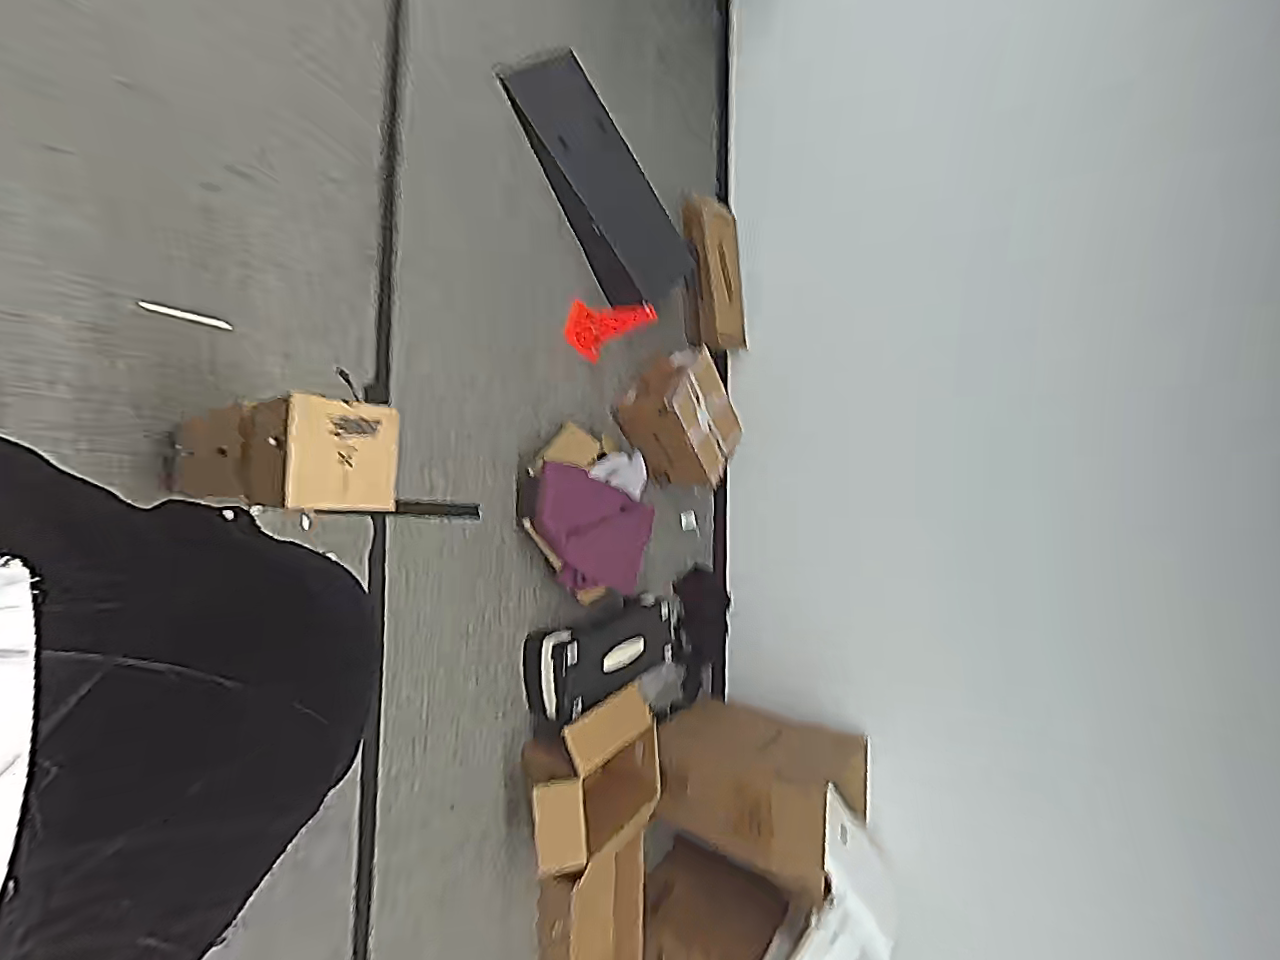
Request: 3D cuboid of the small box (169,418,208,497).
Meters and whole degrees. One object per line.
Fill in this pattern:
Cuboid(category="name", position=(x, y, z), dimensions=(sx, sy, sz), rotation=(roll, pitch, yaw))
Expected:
Cuboid(category="small box", position=(-0.919, -0.040, 1.214), dimensions=(0.179, 0.176, 0.168), rotation=(6, 83, -51))

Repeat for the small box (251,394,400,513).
Cuboid(category="small box", position=(-0.529, -0.035, 0.910), dimensions=(0.168, 0.176, 0.179), rotation=(6, 84, -52))

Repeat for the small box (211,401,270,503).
Cuboid(category="small box", position=(-0.665, -0.040, 1.004), dimensions=(0.179, 0.176, 0.168), rotation=(8, 82, -51))

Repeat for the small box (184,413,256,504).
Cuboid(category="small box", position=(-0.794, -0.036, 1.106), dimensions=(0.179, 0.176, 0.168), rotation=(8, 82, -52))
